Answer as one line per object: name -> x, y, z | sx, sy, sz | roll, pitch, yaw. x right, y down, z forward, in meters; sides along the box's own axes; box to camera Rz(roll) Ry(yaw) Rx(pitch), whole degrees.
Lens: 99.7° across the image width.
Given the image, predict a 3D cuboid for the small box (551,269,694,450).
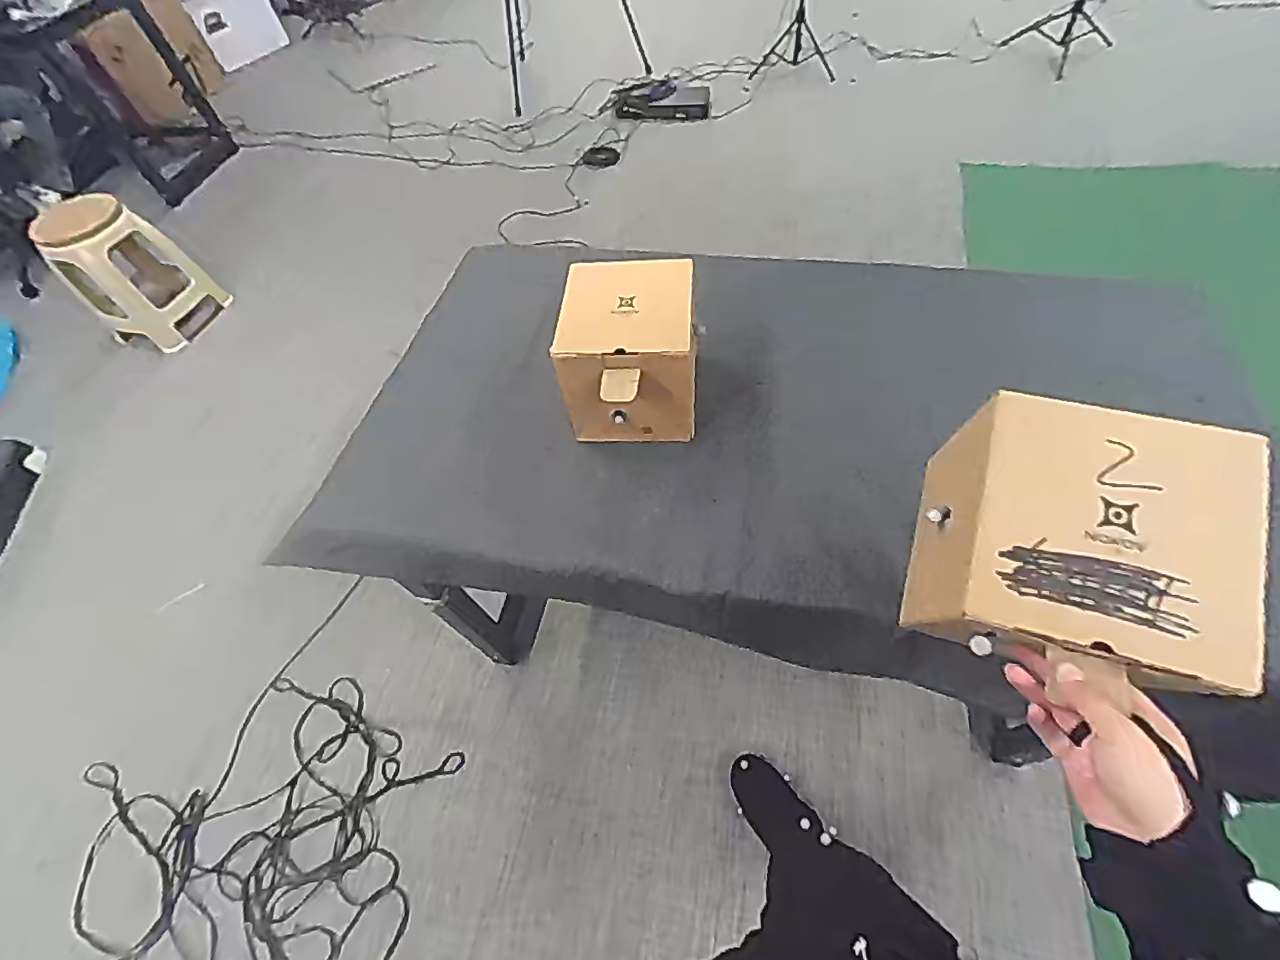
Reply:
small box -> -0.012, -0.161, 0.733 | 0.168, 0.176, 0.179 | 0, 57, 6
